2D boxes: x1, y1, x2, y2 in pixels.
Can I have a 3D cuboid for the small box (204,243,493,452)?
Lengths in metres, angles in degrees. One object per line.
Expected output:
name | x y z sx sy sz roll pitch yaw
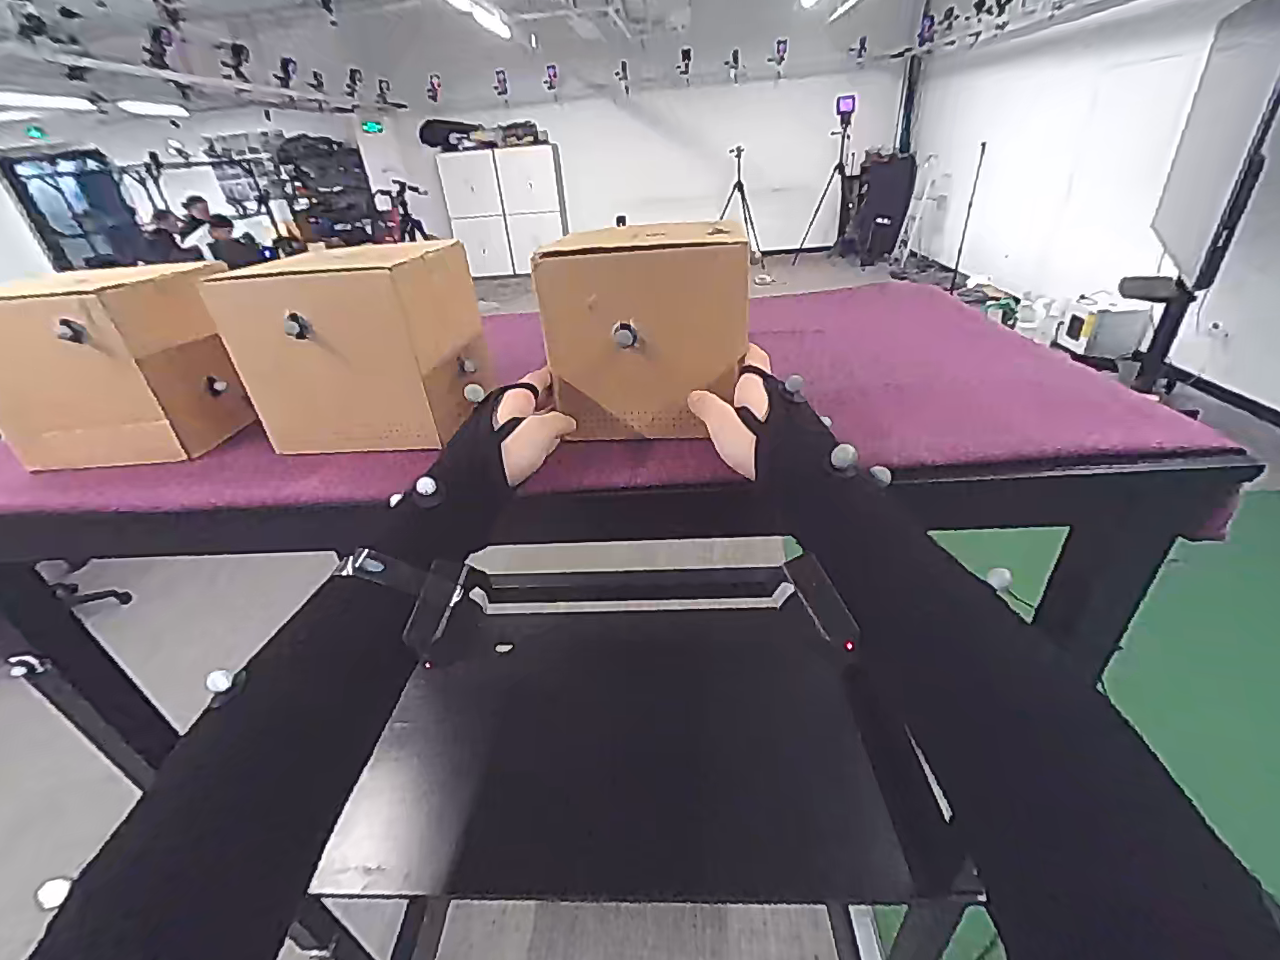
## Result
small box | -0.274 -0.136 0.558 0.179 0.176 0.168 -2 31 7

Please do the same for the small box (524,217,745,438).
small box | 0.009 -0.149 0.531 0.179 0.176 0.168 -3 31 8

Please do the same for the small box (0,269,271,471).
small box | -0.535 -0.119 0.579 0.179 0.176 0.168 -4 31 2
